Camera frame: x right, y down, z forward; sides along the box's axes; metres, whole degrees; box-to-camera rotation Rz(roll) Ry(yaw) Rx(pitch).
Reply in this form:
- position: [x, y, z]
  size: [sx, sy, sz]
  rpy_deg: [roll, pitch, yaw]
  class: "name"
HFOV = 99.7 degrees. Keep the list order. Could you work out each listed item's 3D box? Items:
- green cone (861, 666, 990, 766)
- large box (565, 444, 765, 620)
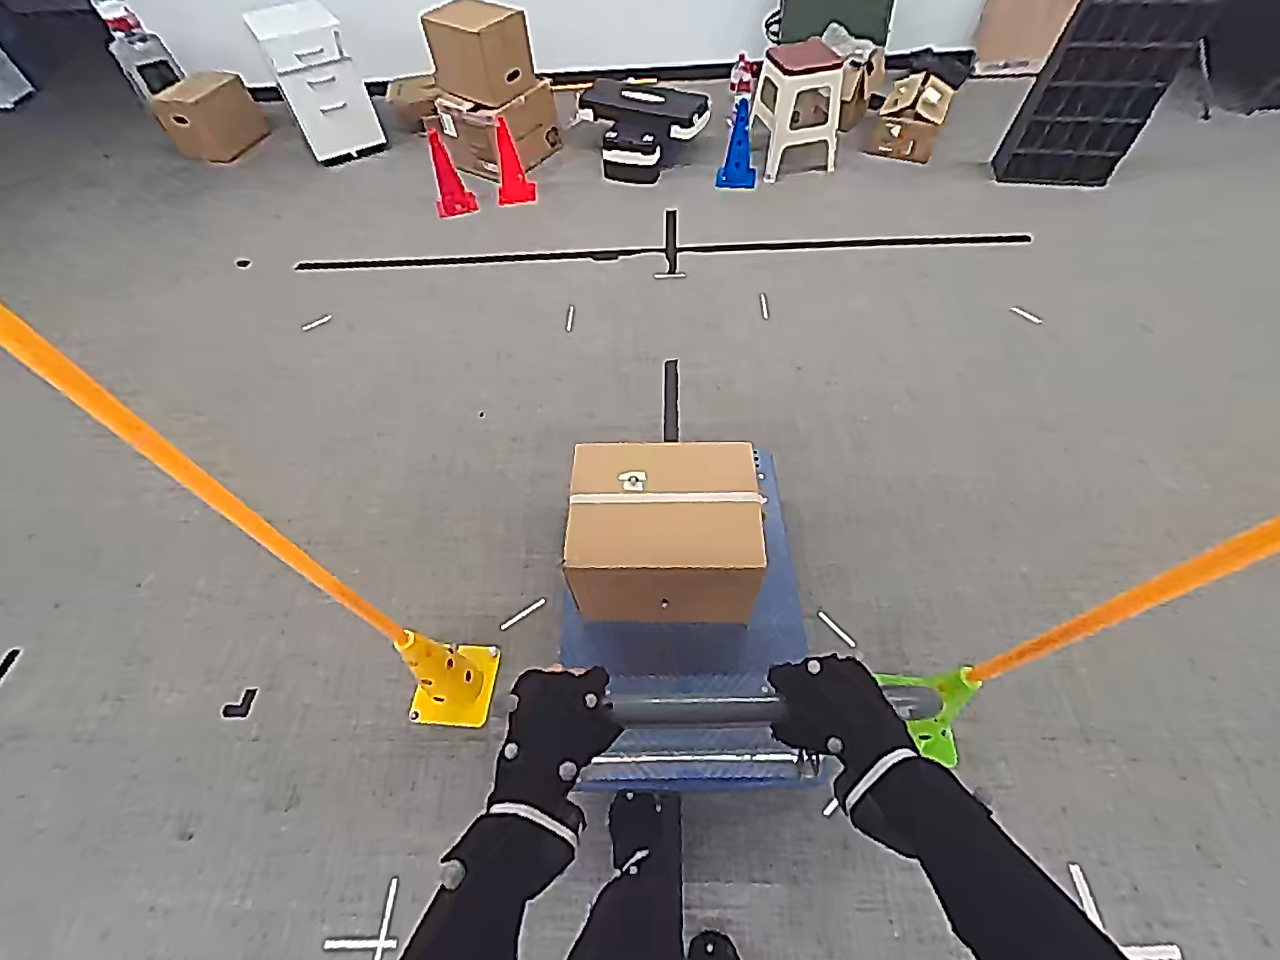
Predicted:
- position: [0.645, 0.480, 1.173]
  size: [0.202, 0.368, 0.200]
  rpy_deg: [3, 55, 4]
  class: "green cone"
- position: [0.059, 0.133, 1.275]
  size: [0.408, 0.320, 0.320]
  rpy_deg: [-1, 55, 4]
  class: "large box"
